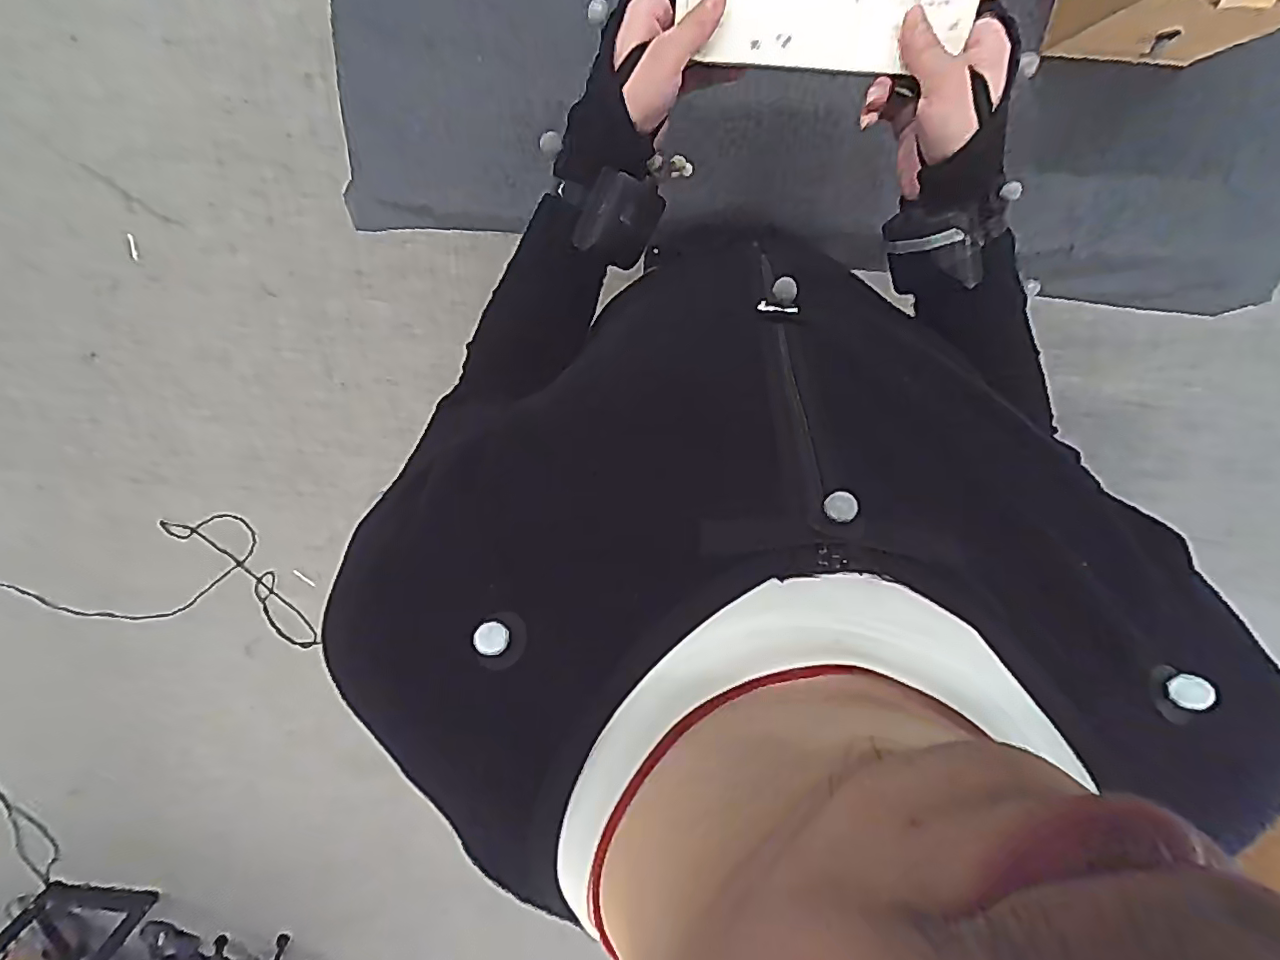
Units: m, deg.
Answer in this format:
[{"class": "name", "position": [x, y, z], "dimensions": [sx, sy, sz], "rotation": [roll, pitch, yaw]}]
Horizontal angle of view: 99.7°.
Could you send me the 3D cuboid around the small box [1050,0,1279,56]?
[{"class": "small box", "position": [0.536, -0.528, 0.507], "dimensions": [0.168, 0.176, 0.179], "rotation": [5, 115, 2]}]
